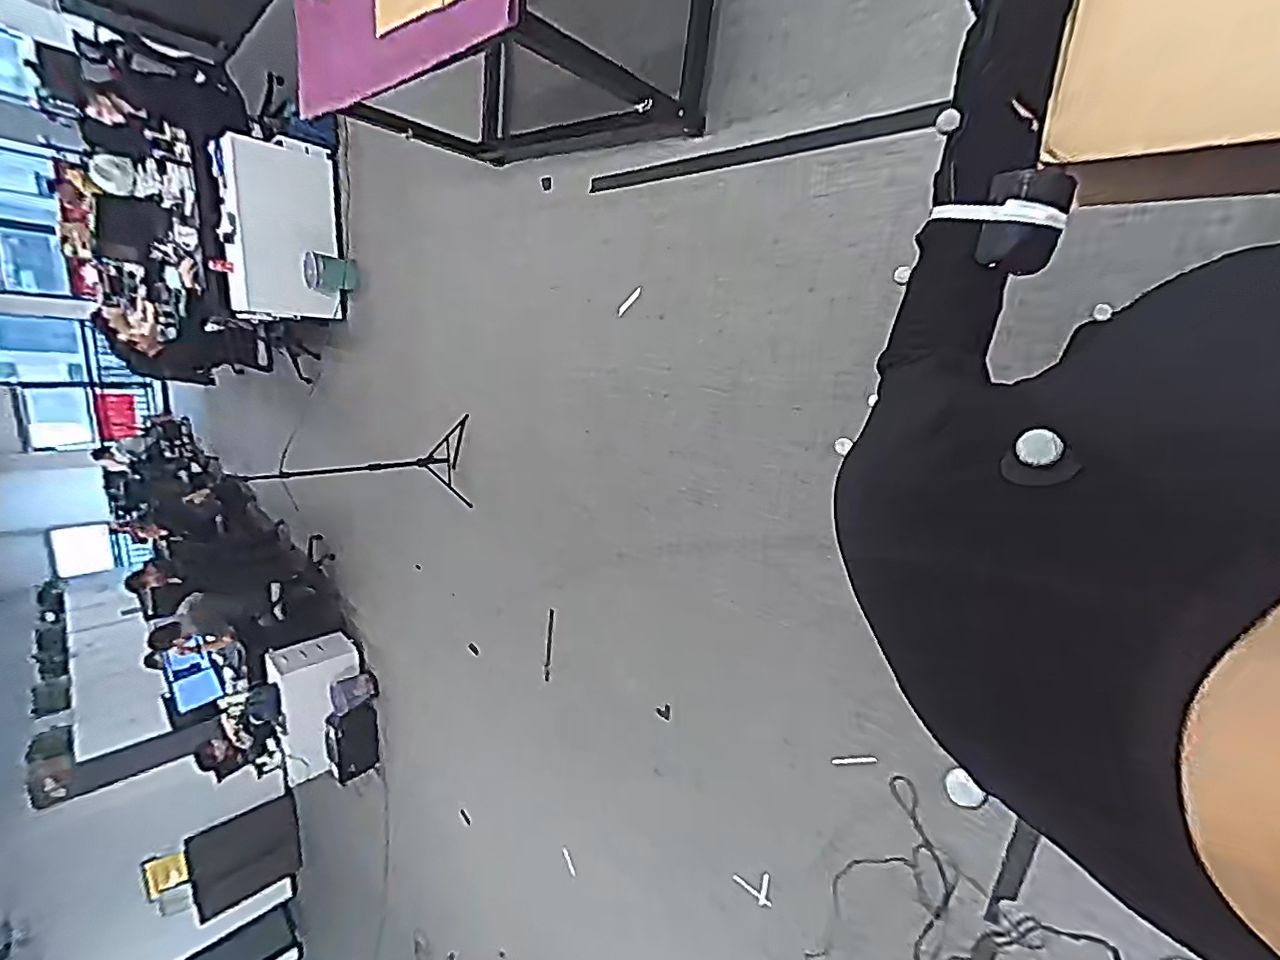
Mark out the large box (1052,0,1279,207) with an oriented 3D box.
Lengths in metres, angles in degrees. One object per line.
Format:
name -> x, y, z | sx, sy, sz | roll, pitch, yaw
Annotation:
large box -> 0.542, -0.376, 0.335 | 0.408, 0.320, 0.320 | 15, 115, 37
